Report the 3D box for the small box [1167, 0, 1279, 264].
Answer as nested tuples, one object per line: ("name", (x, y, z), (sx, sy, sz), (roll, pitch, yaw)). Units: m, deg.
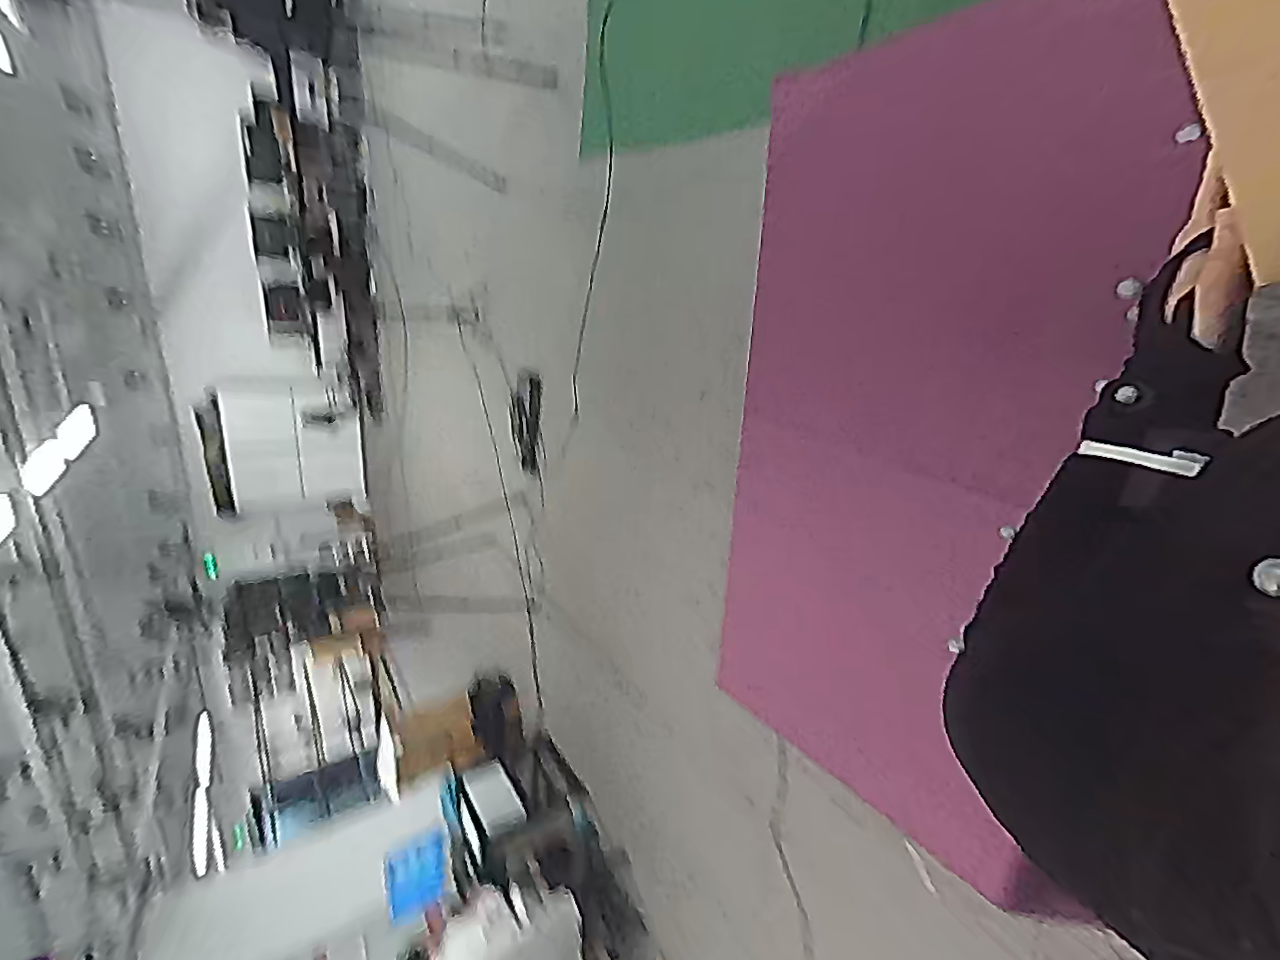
("small box", (0.395, -0.230, 0.255), (0.179, 0.176, 0.168), (-14, 105, 52))
